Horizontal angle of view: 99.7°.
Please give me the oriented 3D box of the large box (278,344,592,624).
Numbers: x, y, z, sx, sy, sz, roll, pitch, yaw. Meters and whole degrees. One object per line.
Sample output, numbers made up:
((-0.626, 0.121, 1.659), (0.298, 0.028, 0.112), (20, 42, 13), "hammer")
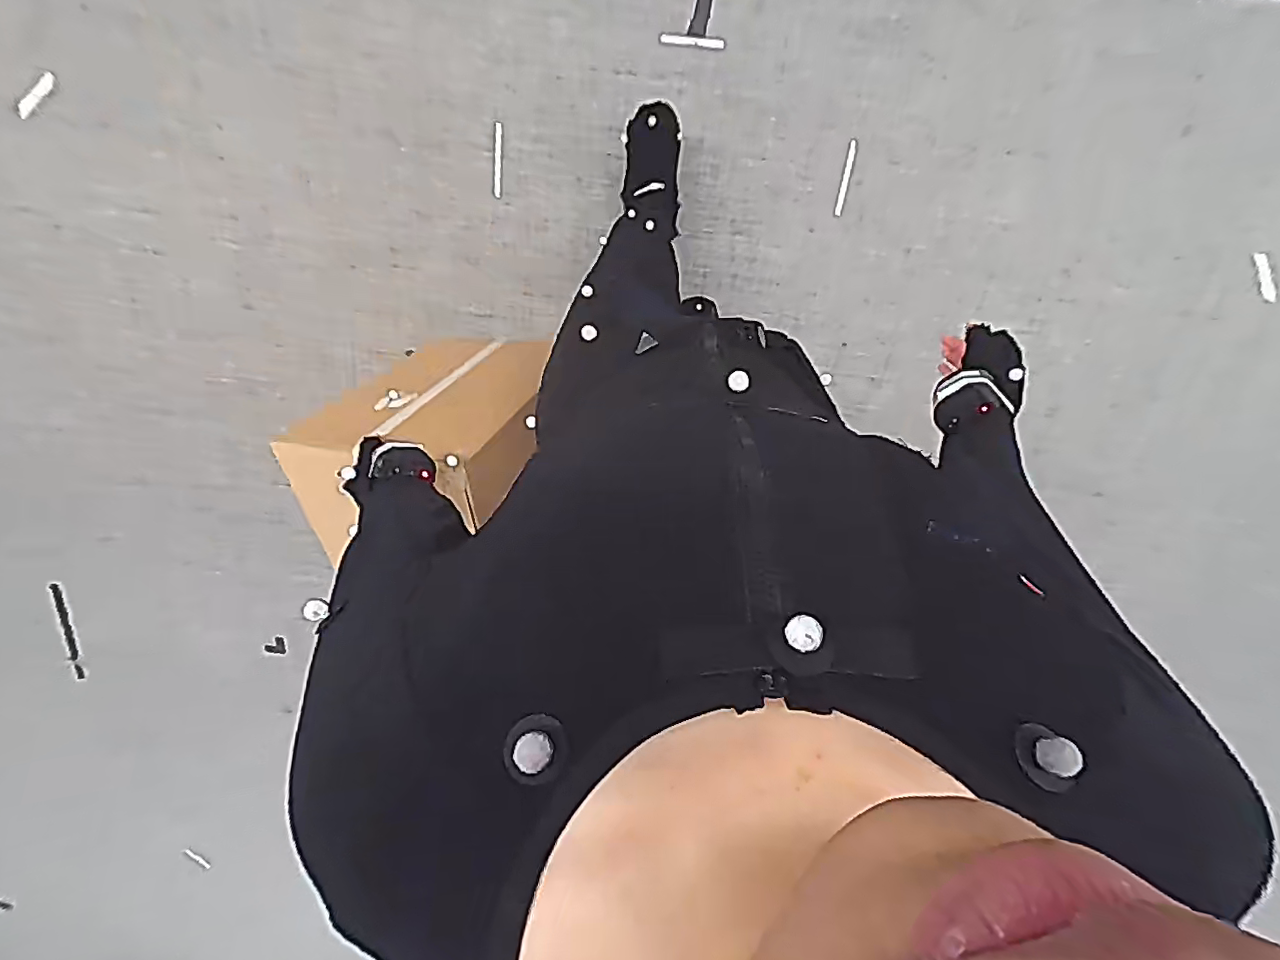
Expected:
((-0.306, -0.019, 0.960), (0.320, 0.408, 0.320), (6, 126, 17), "large box")
